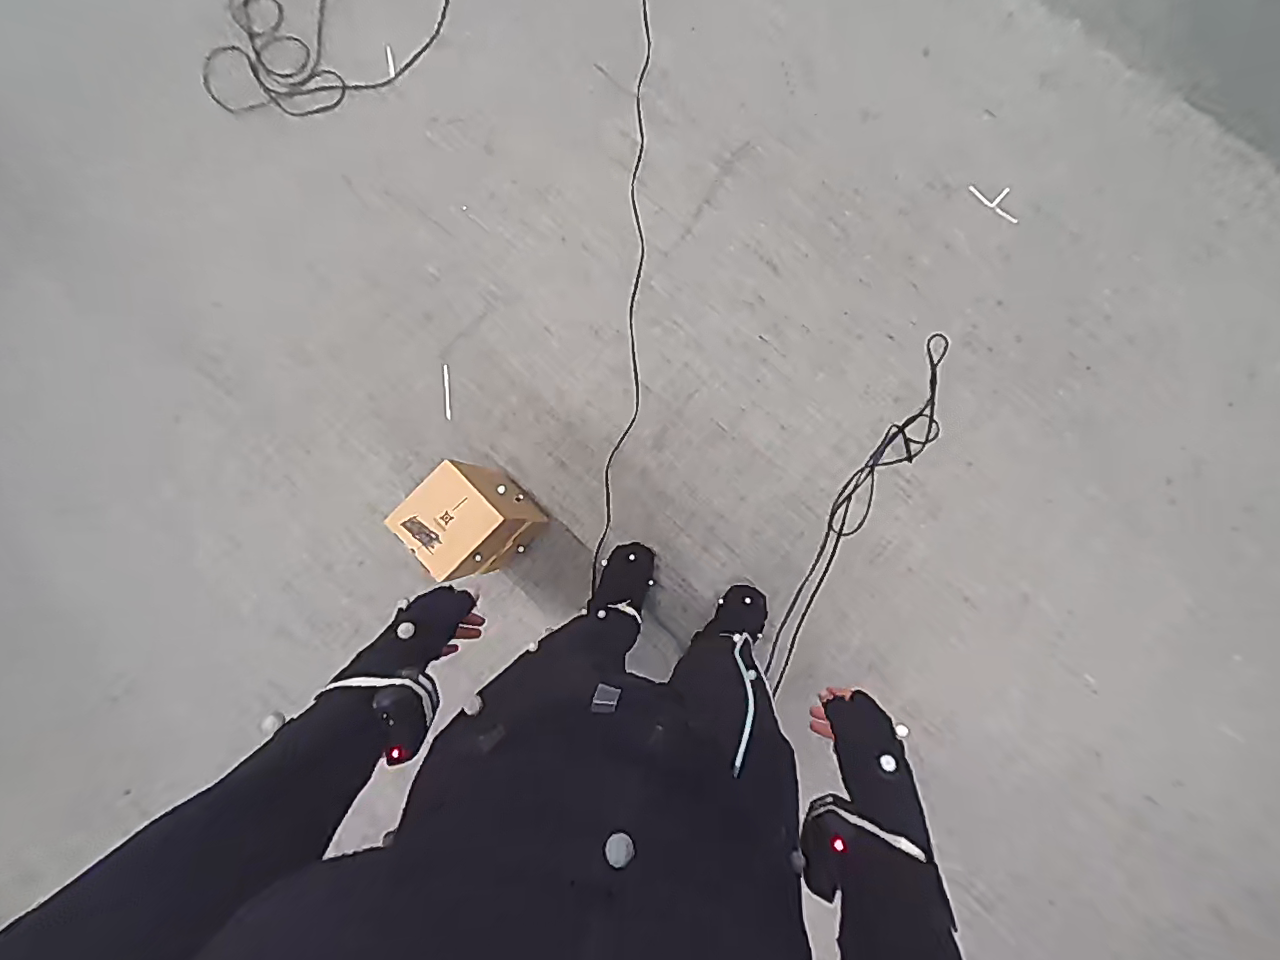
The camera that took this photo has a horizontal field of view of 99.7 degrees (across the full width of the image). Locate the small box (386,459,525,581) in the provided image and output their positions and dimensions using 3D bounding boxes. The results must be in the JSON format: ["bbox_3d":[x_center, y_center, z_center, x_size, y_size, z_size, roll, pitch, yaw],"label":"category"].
[{"bbox_3d":[-0.363,0.081,1.100,0.179,0.176,0.168,-45,85,1],"label":"small box"}]

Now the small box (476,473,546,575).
[{"bbox_3d":[-0.346,0.093,1.264,0.179,0.176,0.168,44,91,4],"label":"small box"}]
